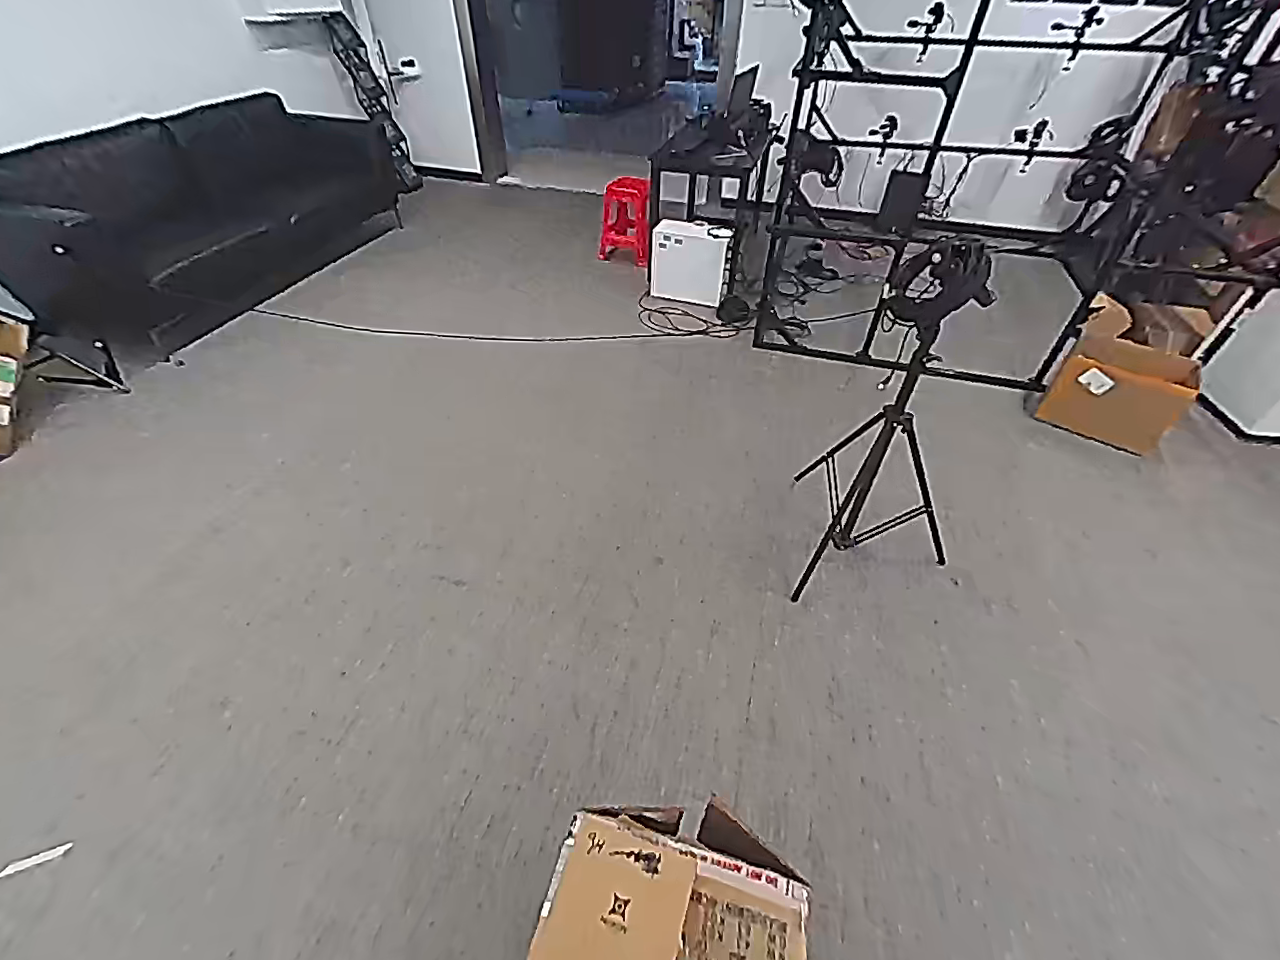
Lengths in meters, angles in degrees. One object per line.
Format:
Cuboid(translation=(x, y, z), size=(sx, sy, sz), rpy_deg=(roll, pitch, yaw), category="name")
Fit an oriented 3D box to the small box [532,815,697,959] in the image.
Cuboid(translation=(-0.024, 0.593, 0.725), size=(0.168, 0.176, 0.179), rpy_deg=(12, 47, 14), category="small box")
